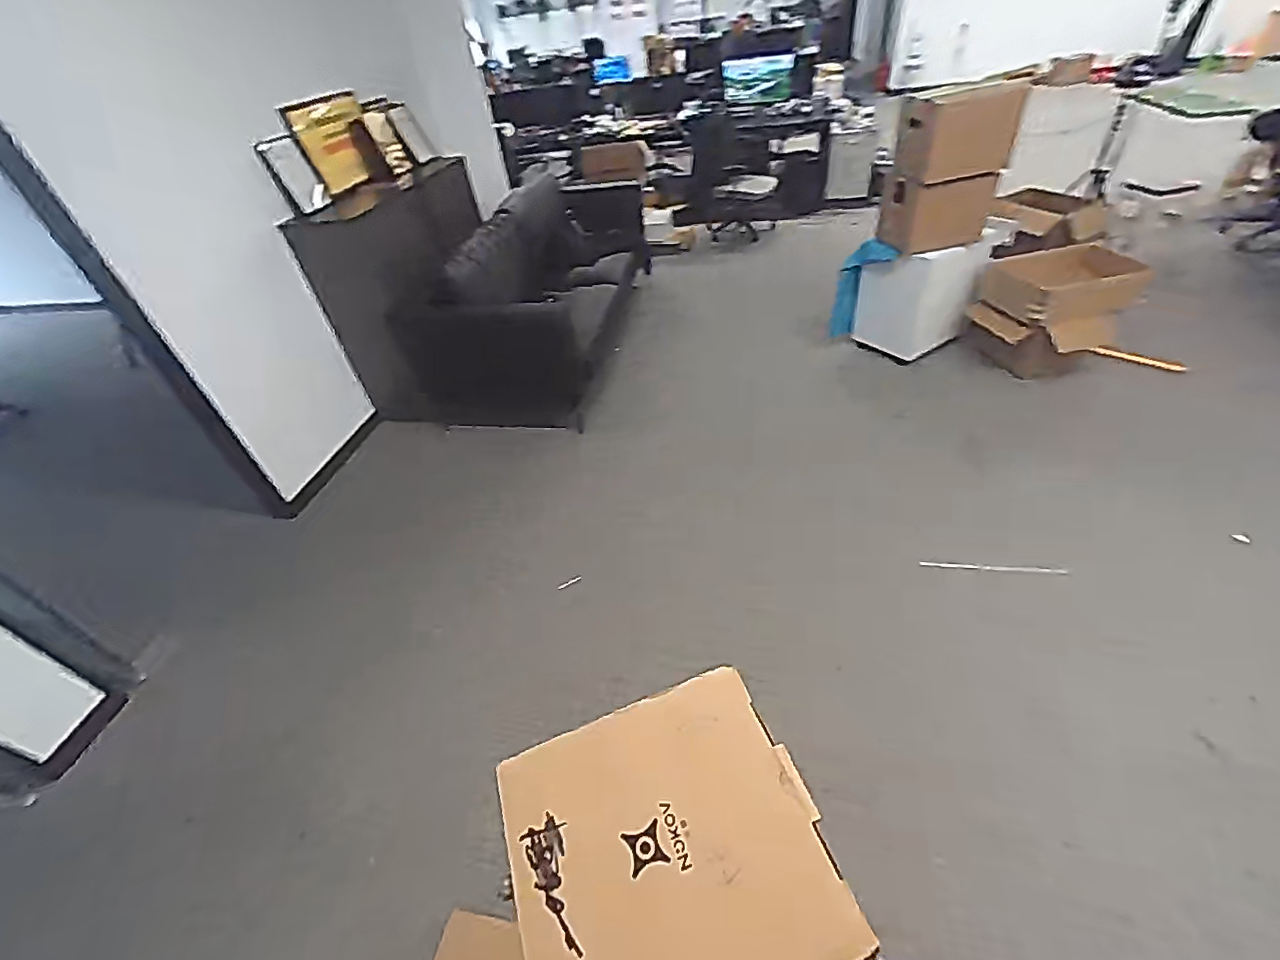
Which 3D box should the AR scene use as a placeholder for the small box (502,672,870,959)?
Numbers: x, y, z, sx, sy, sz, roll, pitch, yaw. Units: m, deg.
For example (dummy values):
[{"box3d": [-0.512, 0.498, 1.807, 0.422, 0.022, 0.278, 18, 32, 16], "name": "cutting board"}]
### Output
[{"box3d": [0.024, 0.269, 0.373, 0.179, 0.176, 0.168, -19, 44, -7], "name": "small box"}]
